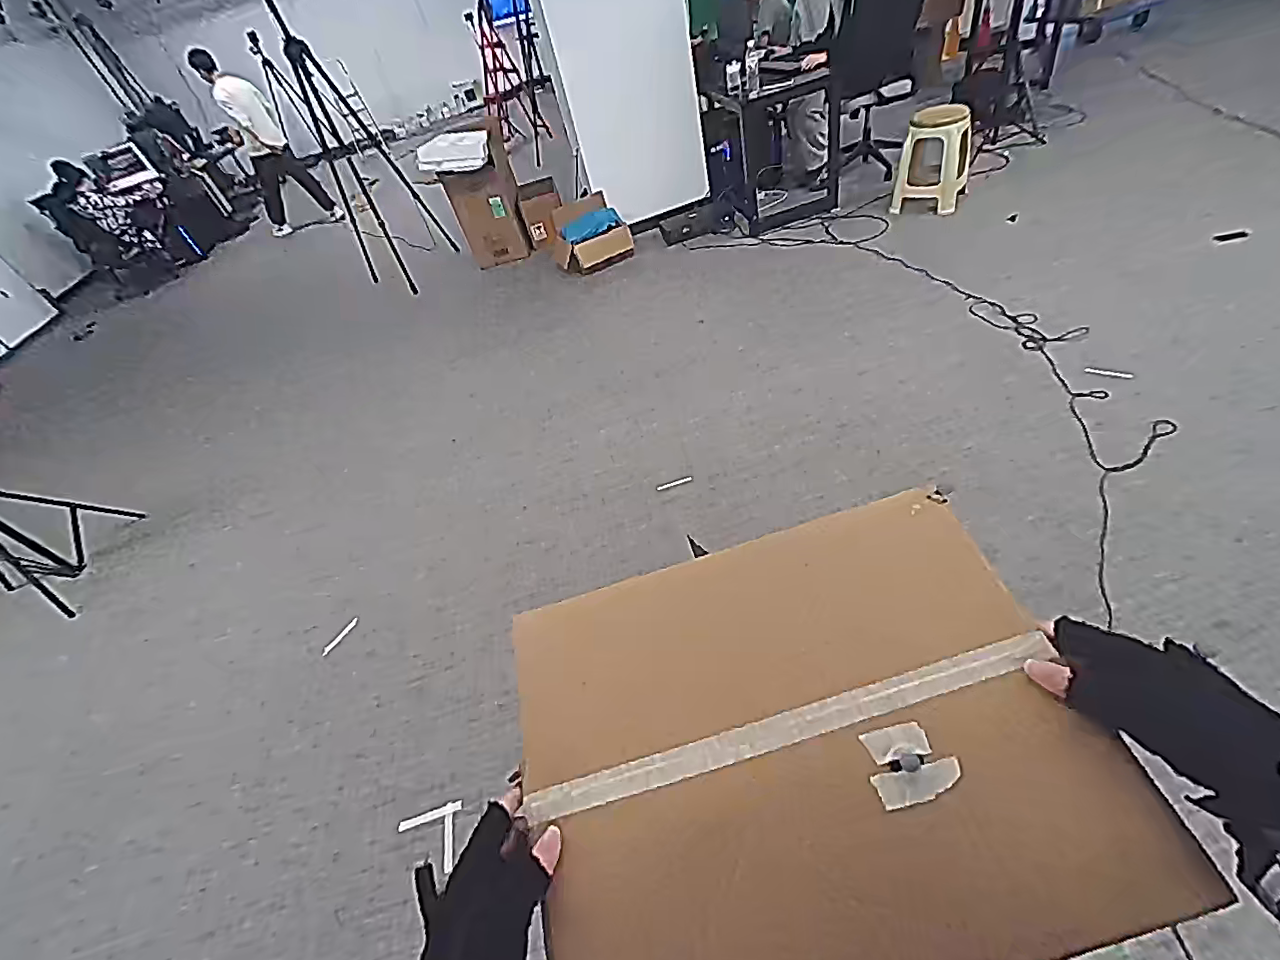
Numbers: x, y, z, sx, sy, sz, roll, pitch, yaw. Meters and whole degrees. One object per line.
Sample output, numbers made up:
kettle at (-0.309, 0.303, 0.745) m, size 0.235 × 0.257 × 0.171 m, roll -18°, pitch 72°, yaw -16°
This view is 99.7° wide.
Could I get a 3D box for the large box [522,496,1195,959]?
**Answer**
large box at (0.141, 0.278, 0.533) m, size 0.408 × 0.320 × 0.320 m, roll -18°, pitch 53°, yaw -1°
